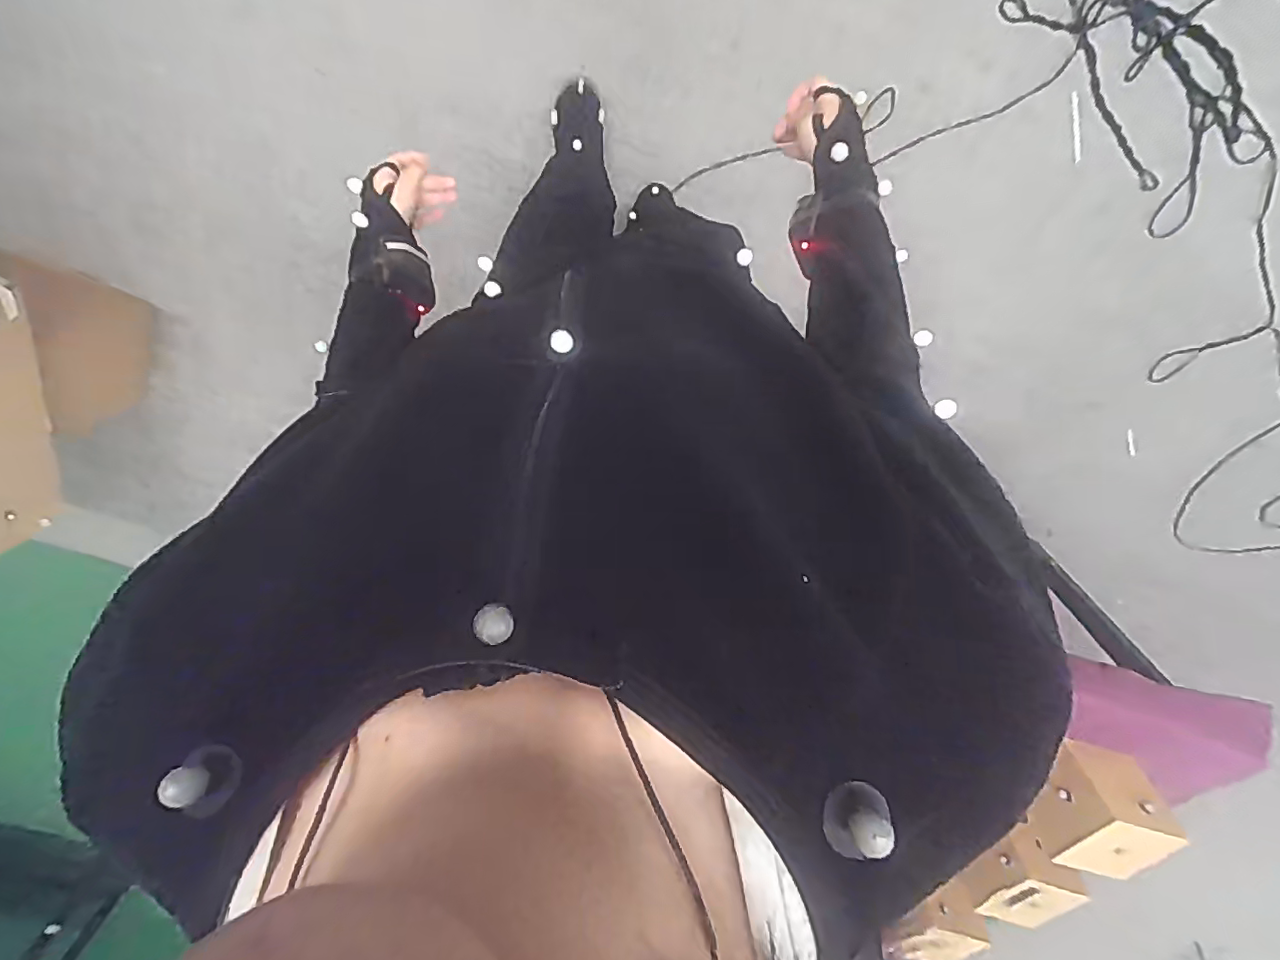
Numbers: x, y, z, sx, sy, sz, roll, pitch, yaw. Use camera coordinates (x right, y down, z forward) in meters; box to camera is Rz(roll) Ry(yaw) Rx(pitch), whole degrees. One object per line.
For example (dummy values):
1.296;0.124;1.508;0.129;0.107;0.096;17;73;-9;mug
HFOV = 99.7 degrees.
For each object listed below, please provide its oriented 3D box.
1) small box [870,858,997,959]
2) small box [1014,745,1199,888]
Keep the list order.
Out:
0.690;1.042;1.295;0.179;0.176;0.168;24;119;-12;small box
0.891;0.650;1.057;0.179;0.176;0.168;18;120;-9;small box
